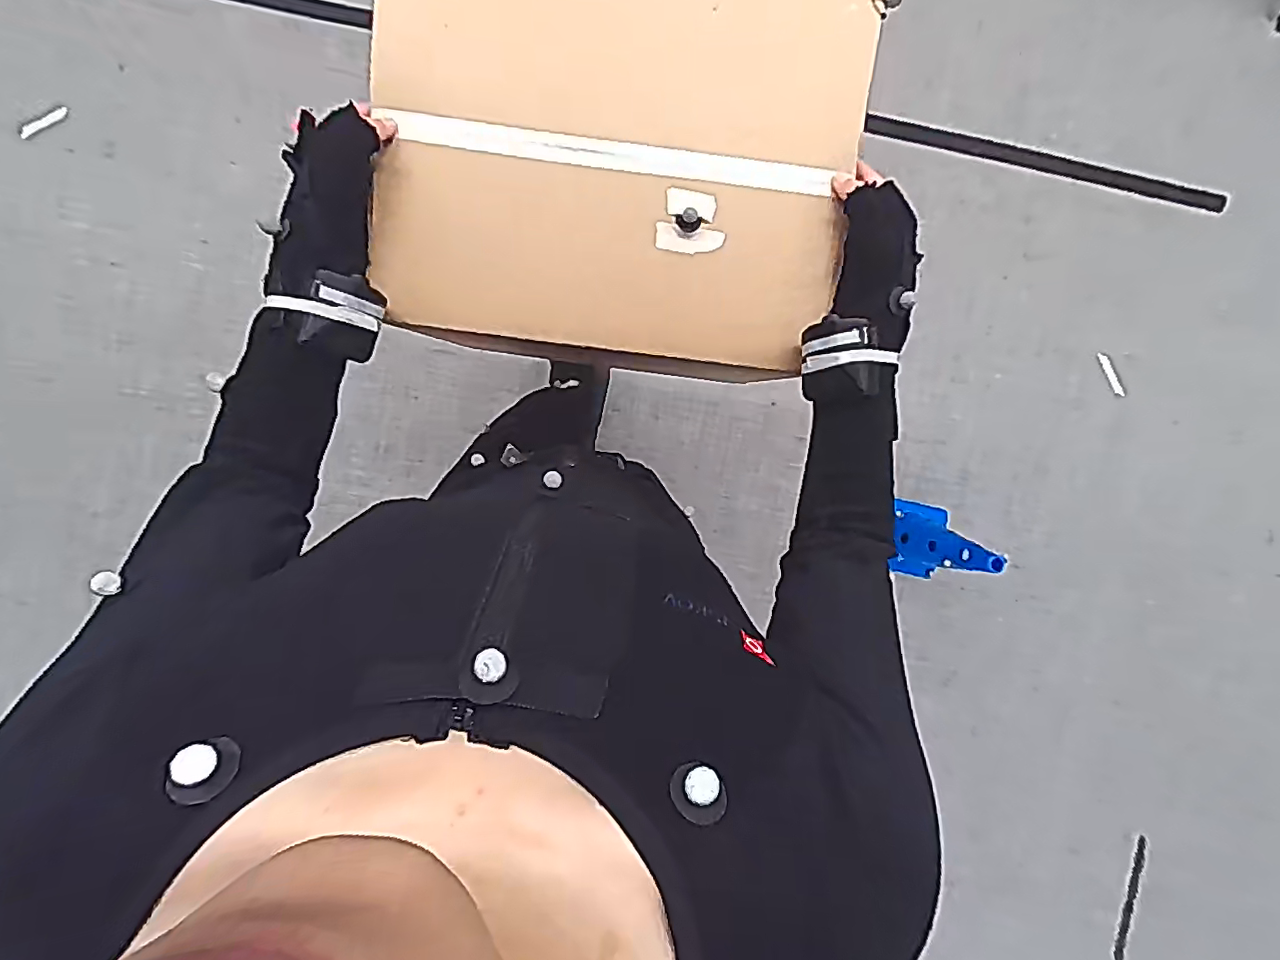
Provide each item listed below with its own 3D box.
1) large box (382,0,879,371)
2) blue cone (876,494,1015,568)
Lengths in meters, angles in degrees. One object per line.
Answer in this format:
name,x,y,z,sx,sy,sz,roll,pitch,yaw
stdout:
large box,-0.020,-0.304,0.605,0.408,0.320,0.320,6,99,-3
blue cone,0.772,0.153,1.349,0.192,0.380,0.193,14,93,-4
